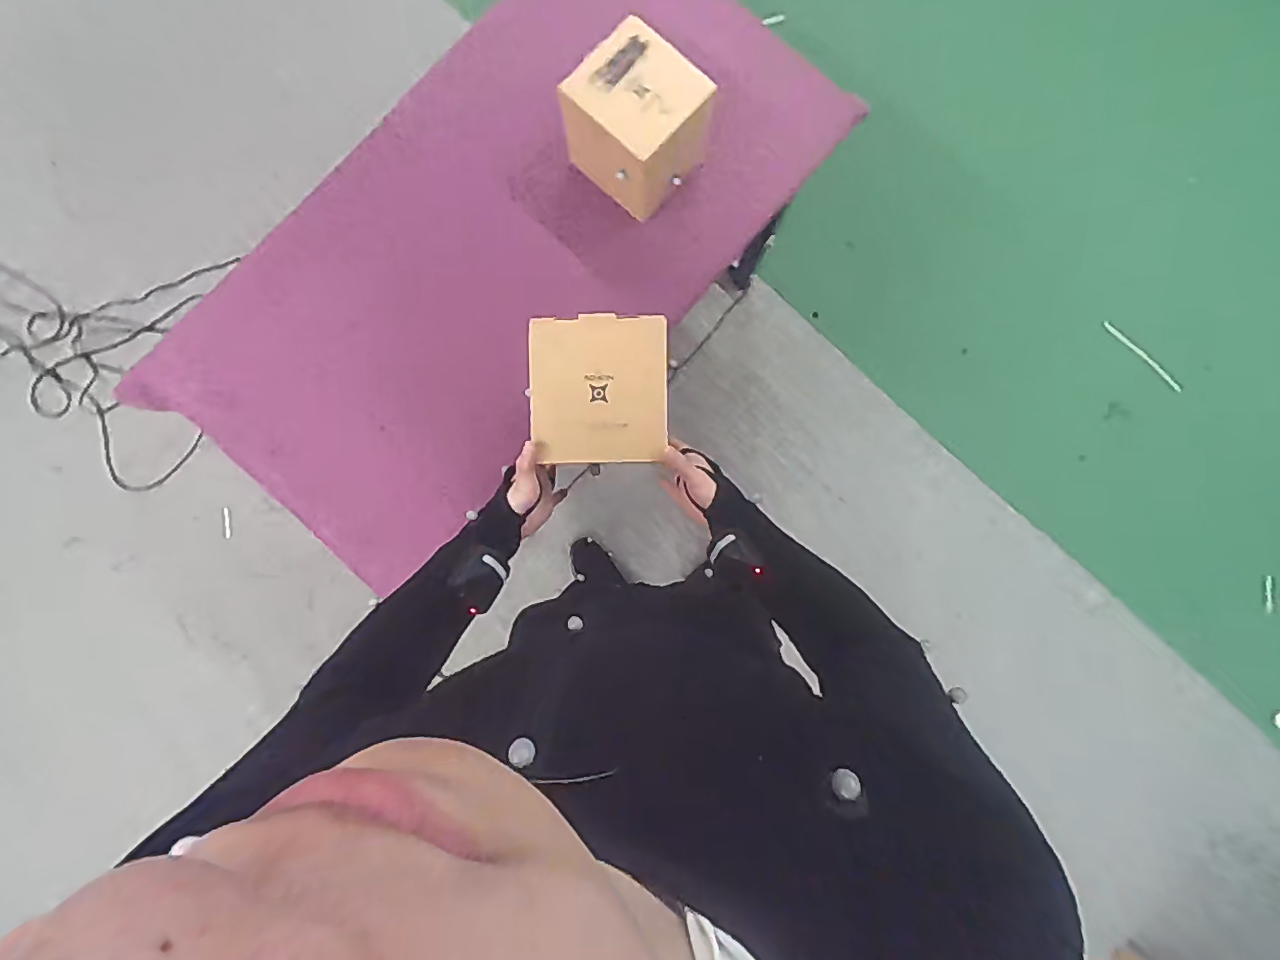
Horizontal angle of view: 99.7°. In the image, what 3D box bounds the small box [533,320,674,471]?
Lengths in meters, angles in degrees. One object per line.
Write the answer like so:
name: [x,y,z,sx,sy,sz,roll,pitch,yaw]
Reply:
small box: [-0.043,-0.101,0.709,0.168,0.176,0.179,0,92,1]
